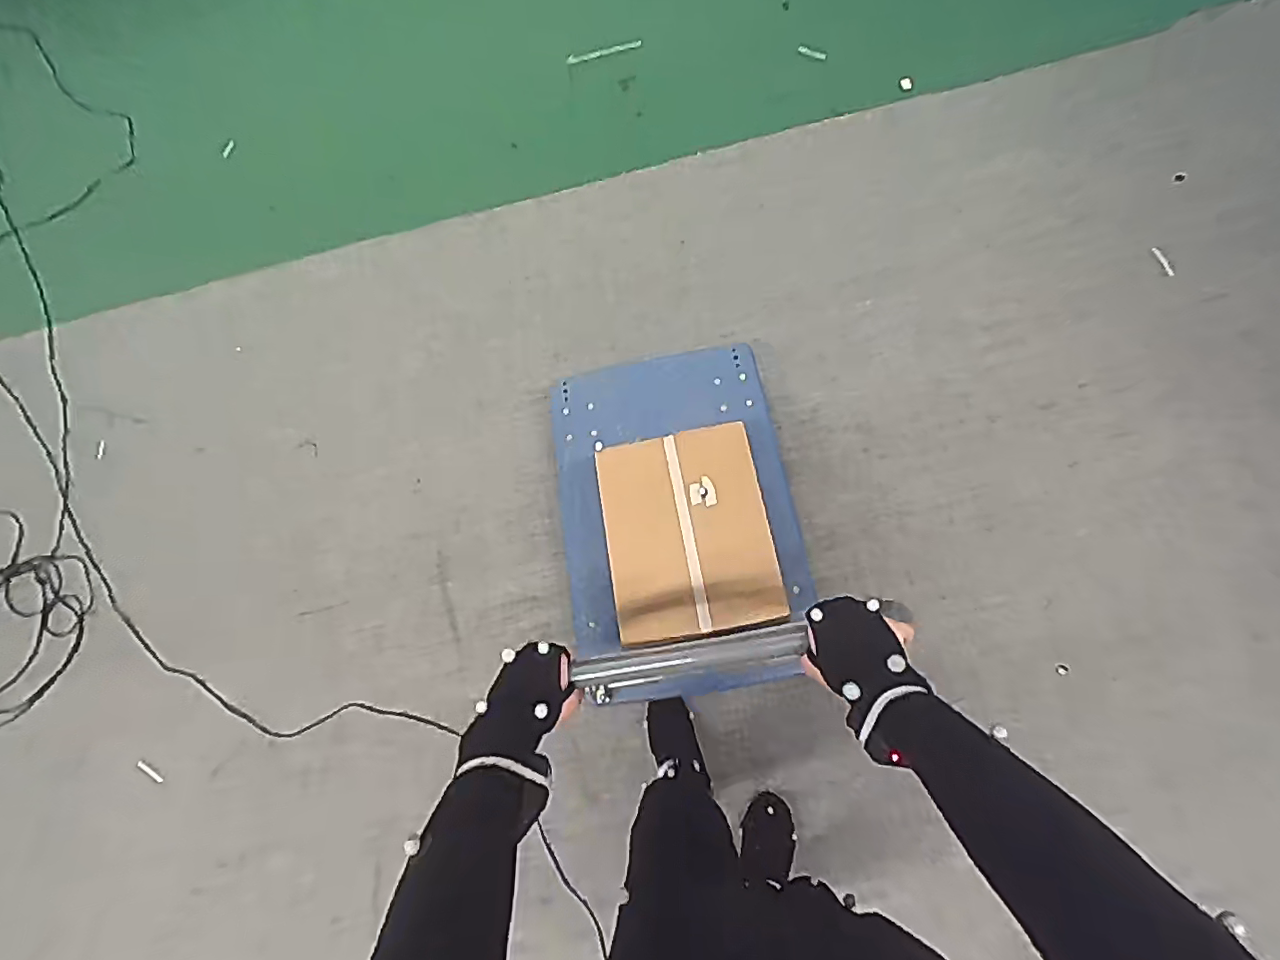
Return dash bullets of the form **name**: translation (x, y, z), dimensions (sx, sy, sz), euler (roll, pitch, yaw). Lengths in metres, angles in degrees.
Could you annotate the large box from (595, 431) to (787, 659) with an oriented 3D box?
- **large box**: translation (0.107, 0.161, 1.195), dimensions (0.320, 0.320, 0.408), euler (-11, 69, 3)
